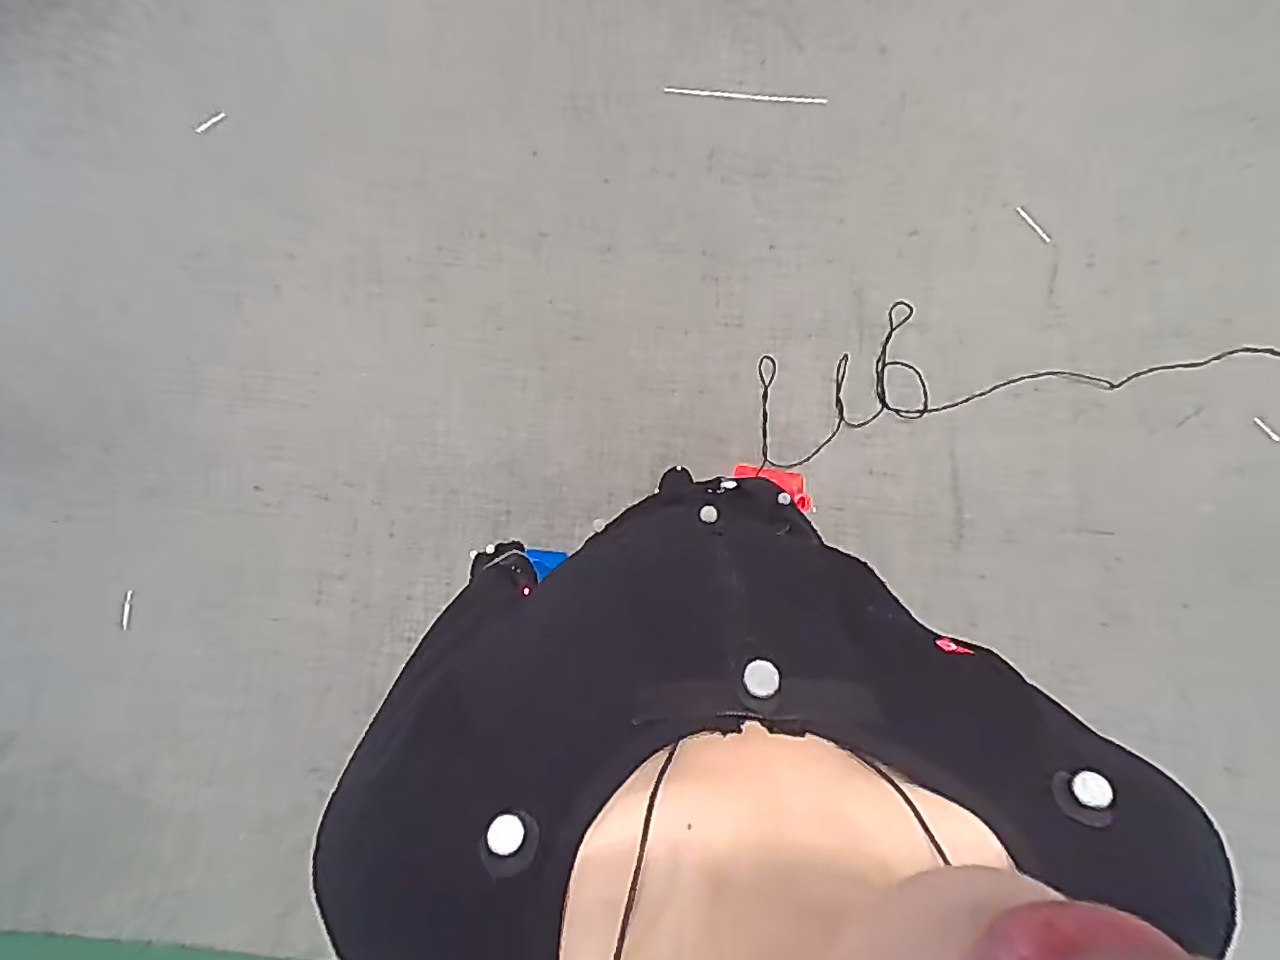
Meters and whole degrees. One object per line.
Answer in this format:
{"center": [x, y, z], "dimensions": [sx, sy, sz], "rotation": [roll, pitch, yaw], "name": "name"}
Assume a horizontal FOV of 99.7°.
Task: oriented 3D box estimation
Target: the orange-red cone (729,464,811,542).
{"center": [0.353, 0.057, 1.329], "dimensions": [0.198, 0.360, 0.199], "rotation": [10, 88, 1], "name": "orange-red cone"}

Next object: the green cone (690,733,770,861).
{"center": [0.245, 0.779, 1.283], "dimensions": [0.200, 0.368, 0.202], "rotation": [7, 86, 0], "name": "green cone"}
